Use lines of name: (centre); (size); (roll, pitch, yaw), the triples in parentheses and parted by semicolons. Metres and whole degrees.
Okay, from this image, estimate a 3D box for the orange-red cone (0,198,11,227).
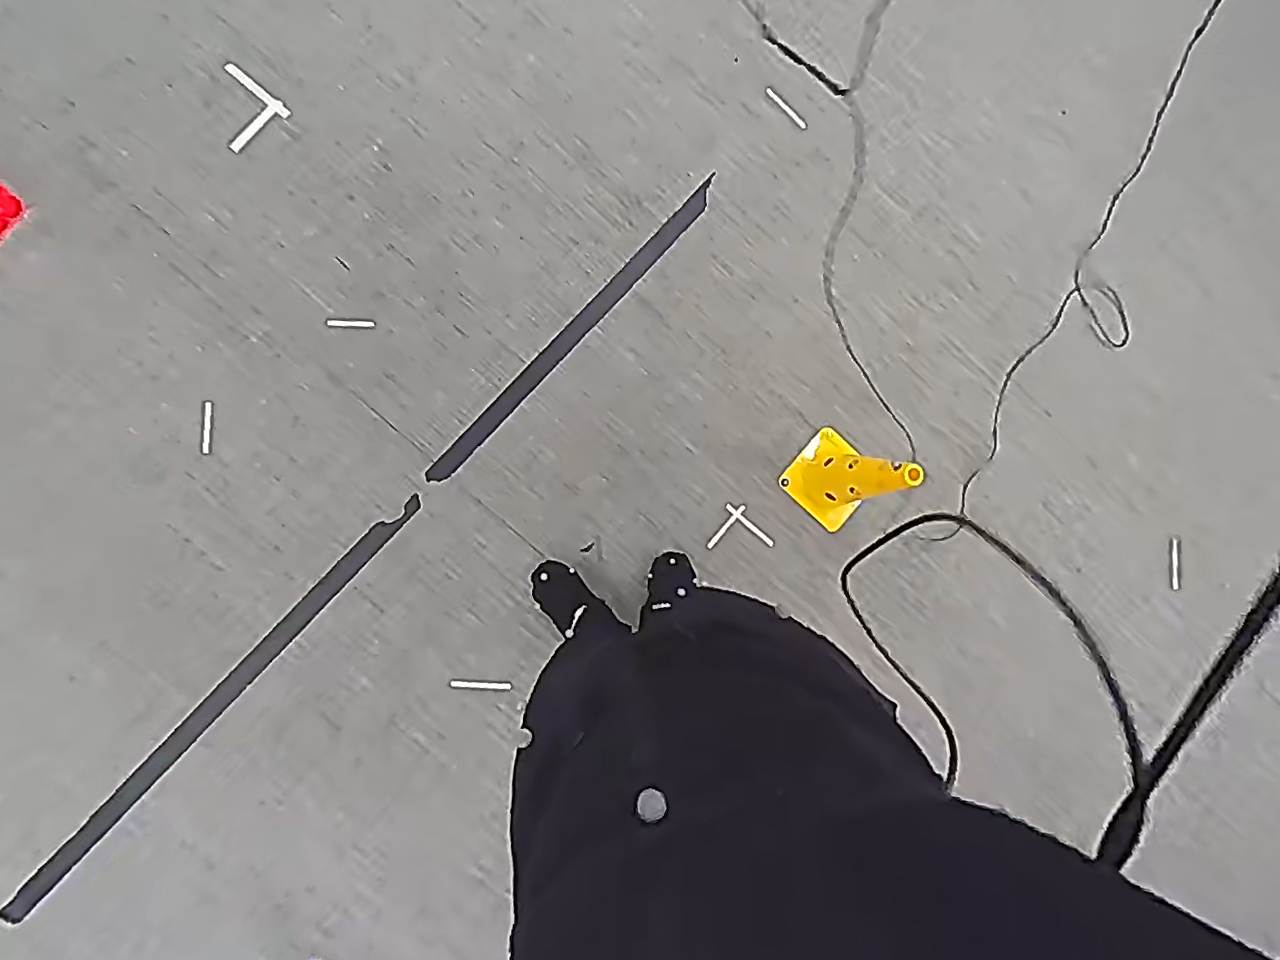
orange-red cone: (-1.494, -0.580, 1.008); (0.198, 0.360, 0.199); (37, 87, -3)
